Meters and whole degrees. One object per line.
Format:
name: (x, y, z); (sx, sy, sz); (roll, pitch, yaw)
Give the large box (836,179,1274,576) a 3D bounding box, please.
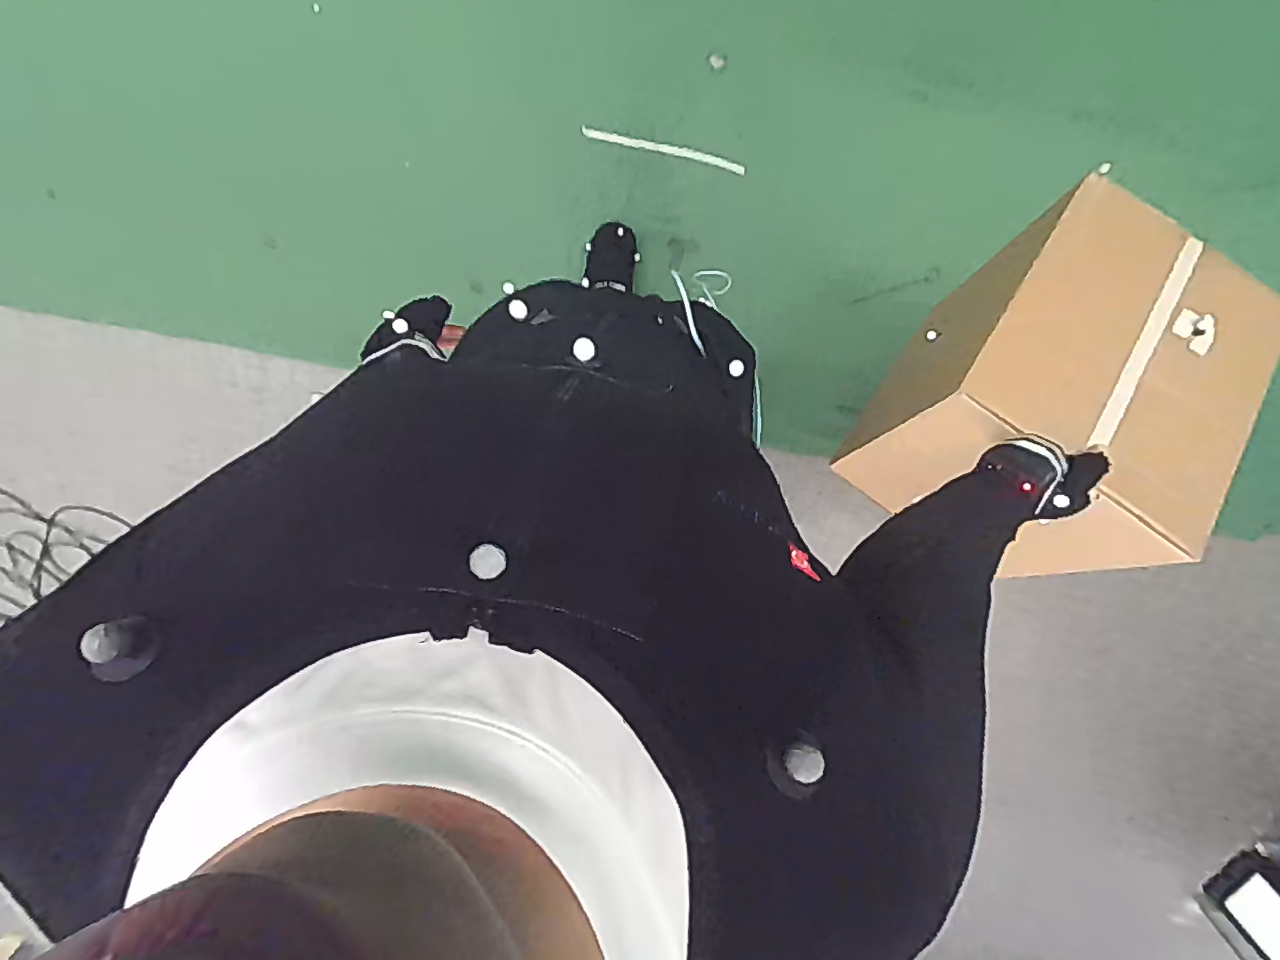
large box: (0.566, -0.119, 0.792); (0.320, 0.320, 0.408); (37, 73, 2)
